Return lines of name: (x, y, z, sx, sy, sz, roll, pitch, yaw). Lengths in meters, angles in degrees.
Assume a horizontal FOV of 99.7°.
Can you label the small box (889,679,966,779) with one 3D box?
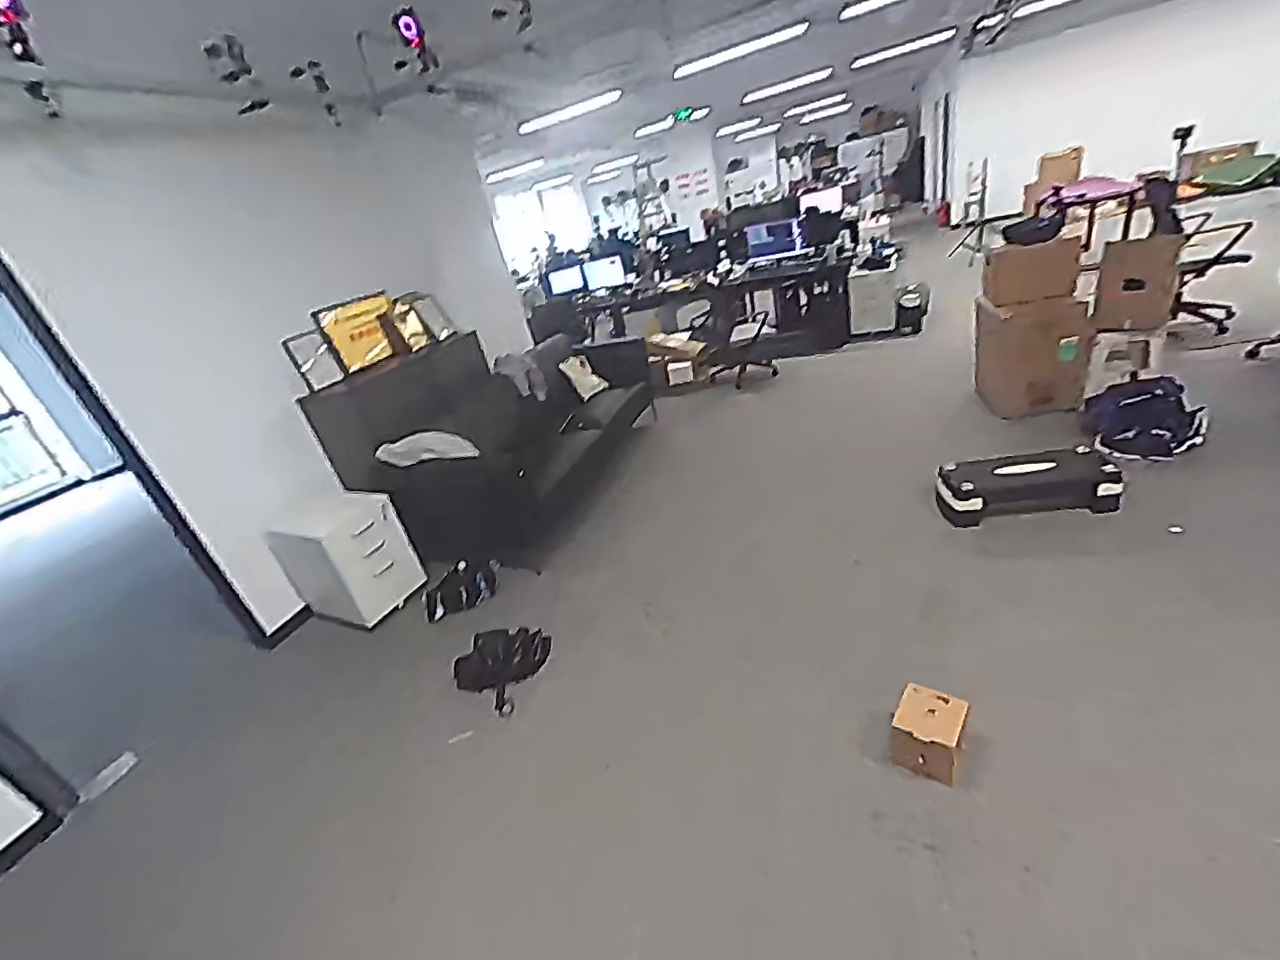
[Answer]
small box: (0.848, 0.731, 1.588, 0.168, 0.176, 0.179, 8, 35, 40)
